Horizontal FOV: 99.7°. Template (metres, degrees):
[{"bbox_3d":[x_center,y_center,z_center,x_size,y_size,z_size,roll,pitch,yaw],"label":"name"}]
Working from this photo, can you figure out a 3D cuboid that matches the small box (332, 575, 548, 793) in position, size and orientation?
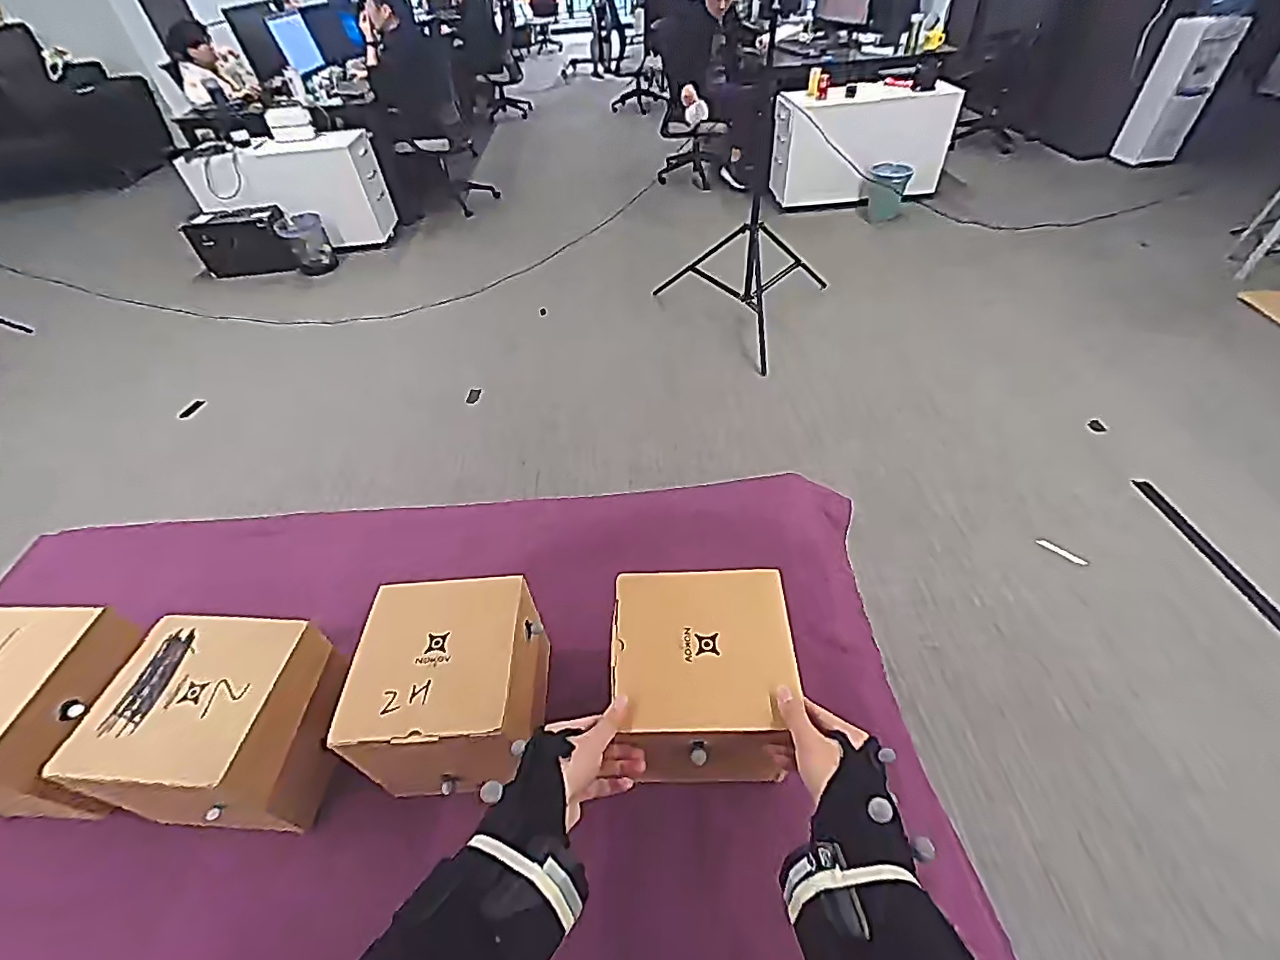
[{"bbox_3d":[-0.203,0.230,0.612,0.168,0.176,0.179,-5,45,1],"label":"small box"}]

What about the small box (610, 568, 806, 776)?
[{"bbox_3d":[0.067,0.211,0.588,0.179,0.176,0.168,-3,48,4],"label":"small box"}]

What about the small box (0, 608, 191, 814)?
[{"bbox_3d":[-0.680,0.265,0.617,0.168,0.176,0.179,-1,46,4],"label":"small box"}]
